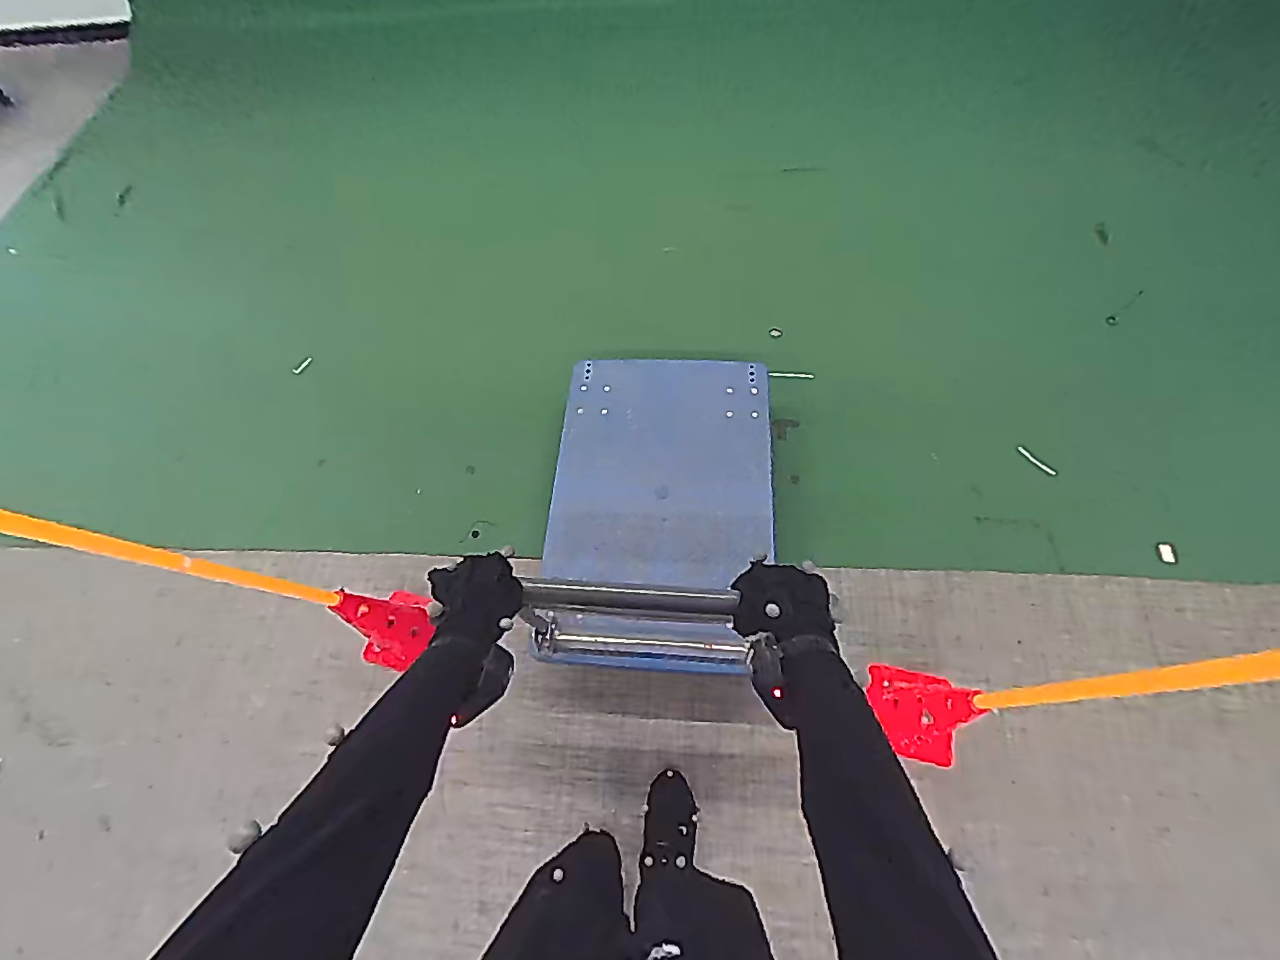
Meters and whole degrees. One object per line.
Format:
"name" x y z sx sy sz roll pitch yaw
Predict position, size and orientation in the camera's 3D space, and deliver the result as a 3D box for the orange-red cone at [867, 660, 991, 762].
"orange-red cone" 0.636 0.473 1.141 0.198 0.360 0.199 11 66 11
